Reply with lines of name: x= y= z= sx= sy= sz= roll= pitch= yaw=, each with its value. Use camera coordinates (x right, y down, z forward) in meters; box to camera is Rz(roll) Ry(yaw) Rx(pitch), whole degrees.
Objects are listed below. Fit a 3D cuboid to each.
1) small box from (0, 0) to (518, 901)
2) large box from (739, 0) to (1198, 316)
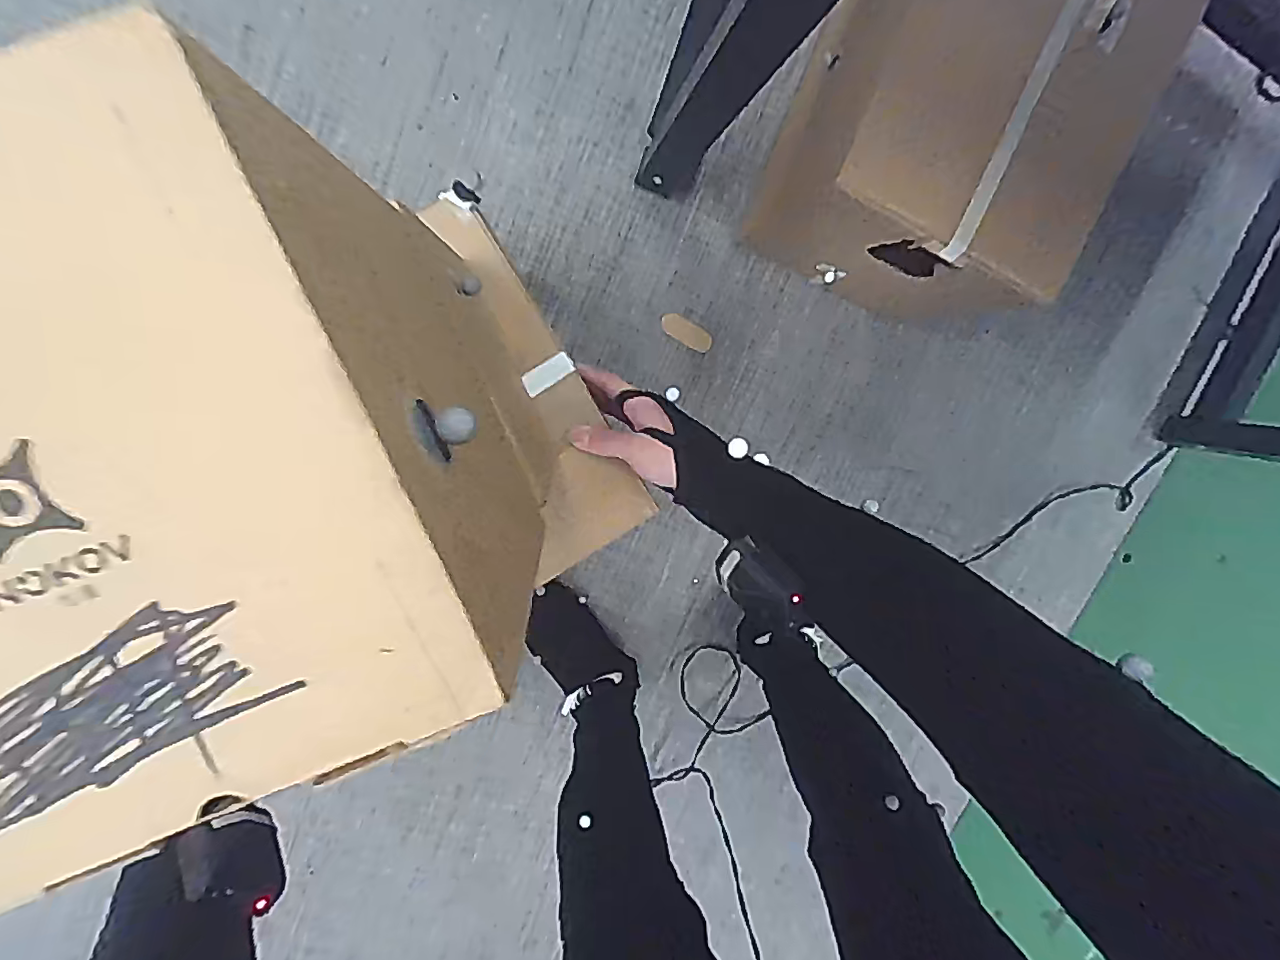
small box: x=-0.157 y=-0.004 z=0.197 sx=0.168 sy=0.176 sz=0.179 roll=-22 pitch=103 yaw=-2
large box: x=0.378 y=-0.468 z=0.695 sx=0.320 sy=0.320 sz=0.408 roll=20 pitch=98 yaw=-15
